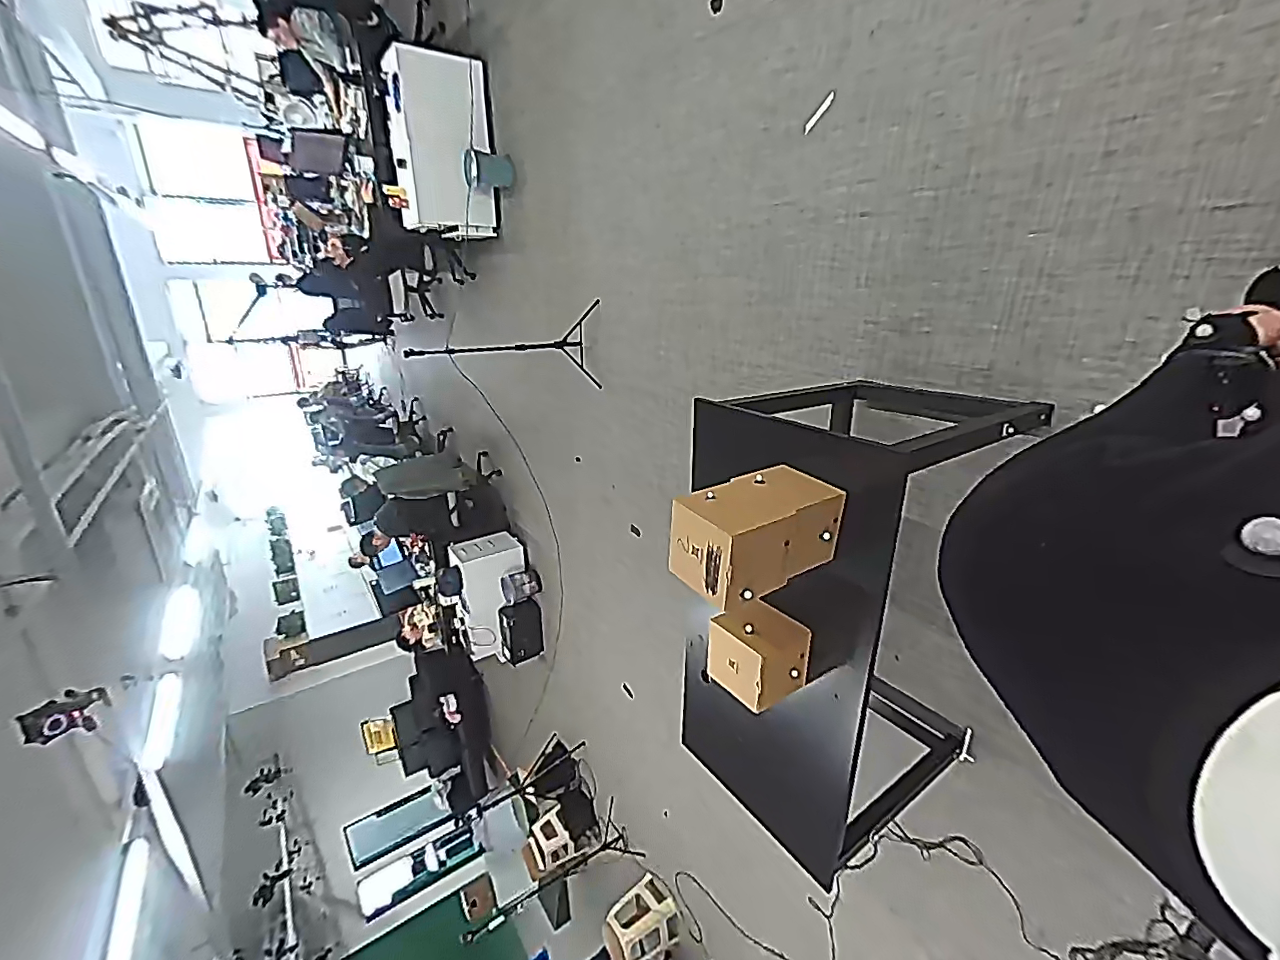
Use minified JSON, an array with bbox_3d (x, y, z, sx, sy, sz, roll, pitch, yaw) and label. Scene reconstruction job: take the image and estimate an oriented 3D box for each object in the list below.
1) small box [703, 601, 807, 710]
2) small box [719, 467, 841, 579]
[{"bbox_3d":[0.277,0.416,1.321,0.179,0.176,0.168,26,123,50],"label":"small box"},{"bbox_3d":[0.295,0.081,1.160,0.179,0.176,0.168,33,129,48],"label":"small box"}]
